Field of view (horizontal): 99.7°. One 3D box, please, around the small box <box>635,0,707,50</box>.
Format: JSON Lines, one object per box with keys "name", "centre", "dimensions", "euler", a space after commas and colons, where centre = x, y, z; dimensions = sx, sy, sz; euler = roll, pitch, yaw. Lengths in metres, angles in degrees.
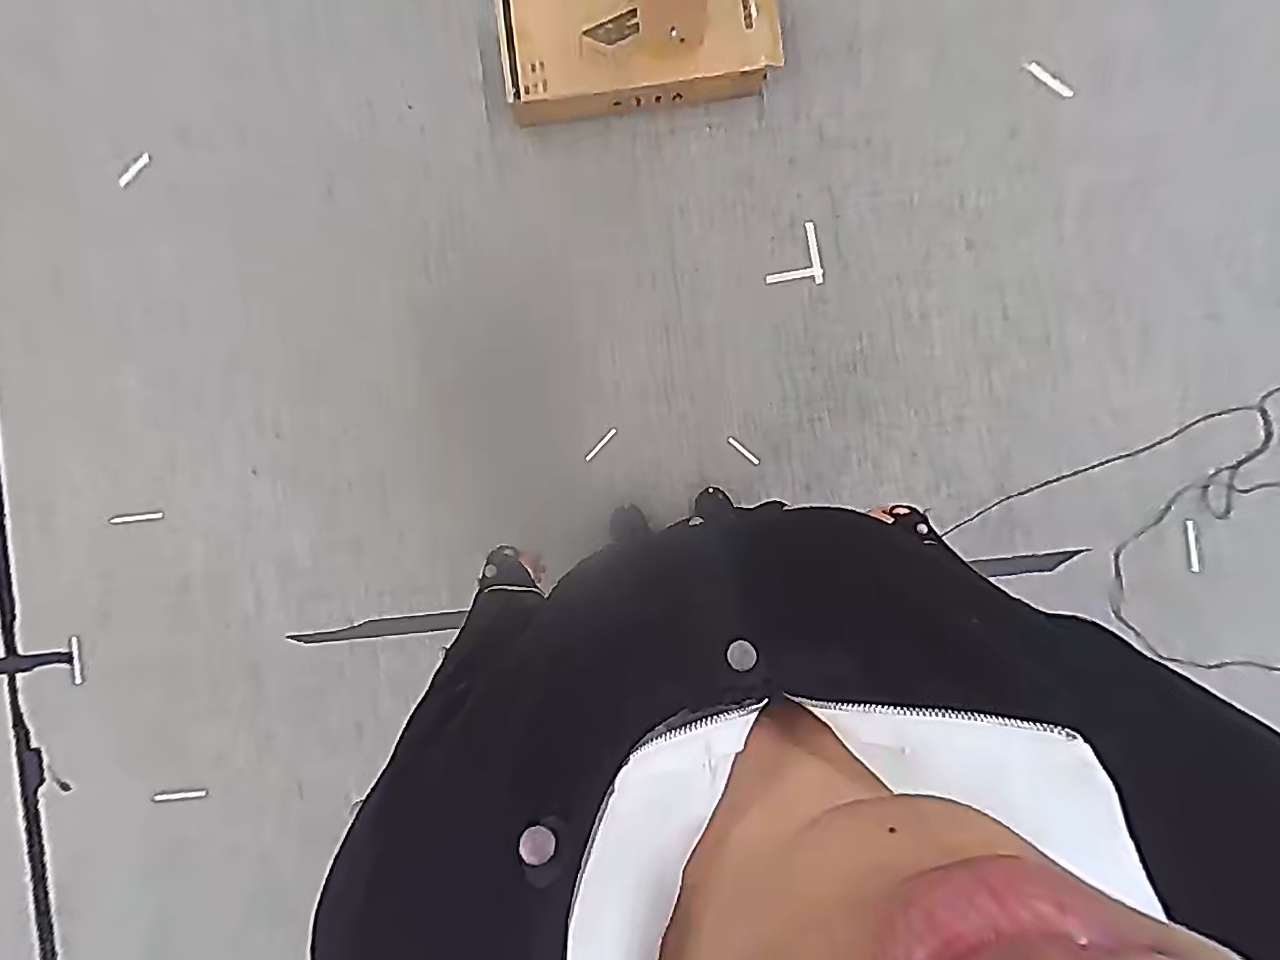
{"name": "small box", "centre": [0.072, -1.226, 1.339], "dimensions": [0.168, 0.176, 0.179], "euler": [-8, 88, 2]}
